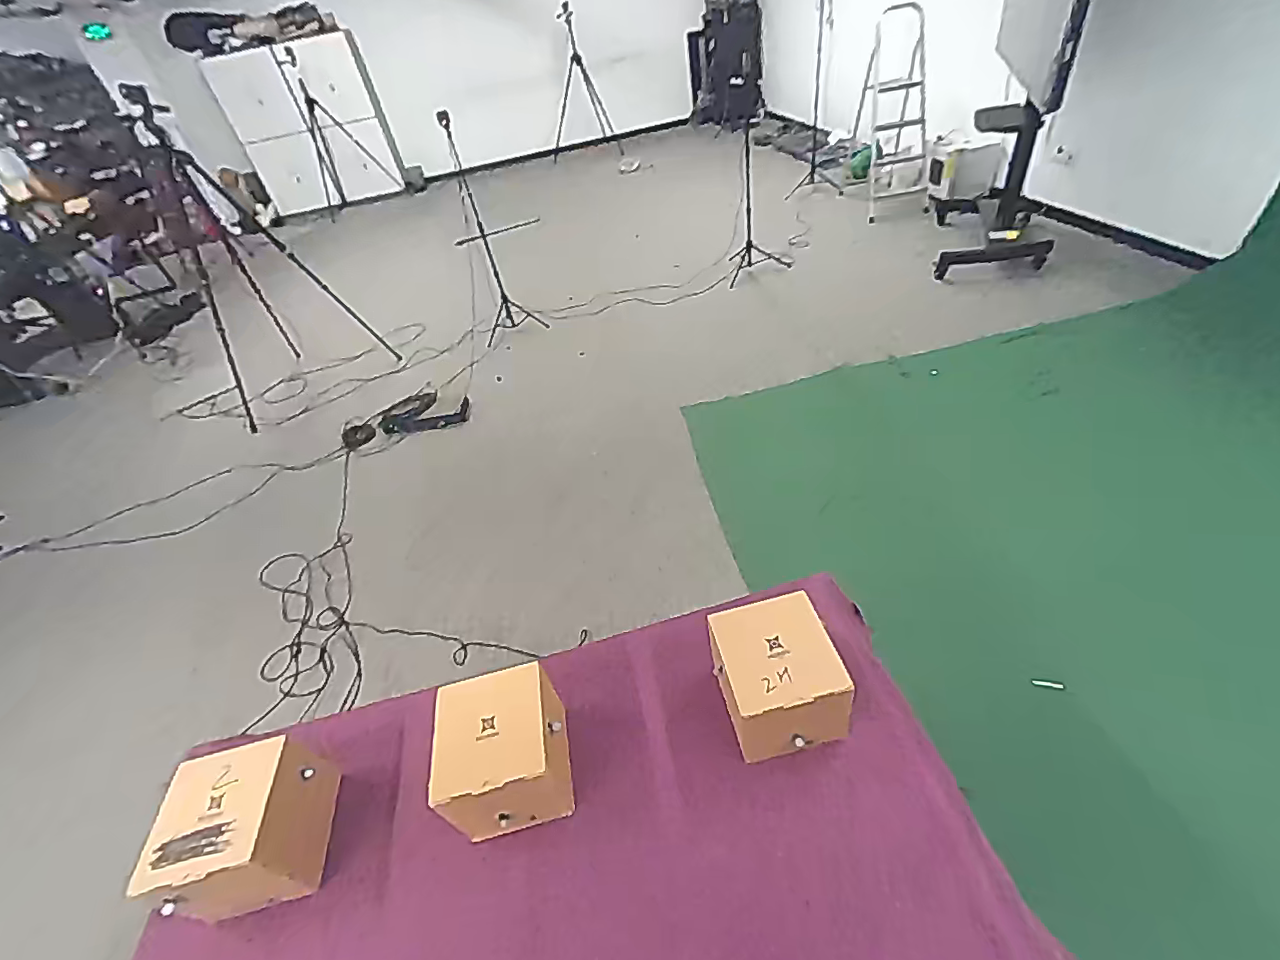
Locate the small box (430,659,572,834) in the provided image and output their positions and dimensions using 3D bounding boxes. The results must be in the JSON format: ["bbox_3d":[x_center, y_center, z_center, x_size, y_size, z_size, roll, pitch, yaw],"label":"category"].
[{"bbox_3d":[-0.210,0.417,0.847,0.168,0.176,0.179,-14,43,-3],"label":"small box"}]

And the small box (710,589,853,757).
[{"bbox_3d":[0.217,0.309,0.865,0.168,0.176,0.179,-14,42,-1],"label":"small box"}]
